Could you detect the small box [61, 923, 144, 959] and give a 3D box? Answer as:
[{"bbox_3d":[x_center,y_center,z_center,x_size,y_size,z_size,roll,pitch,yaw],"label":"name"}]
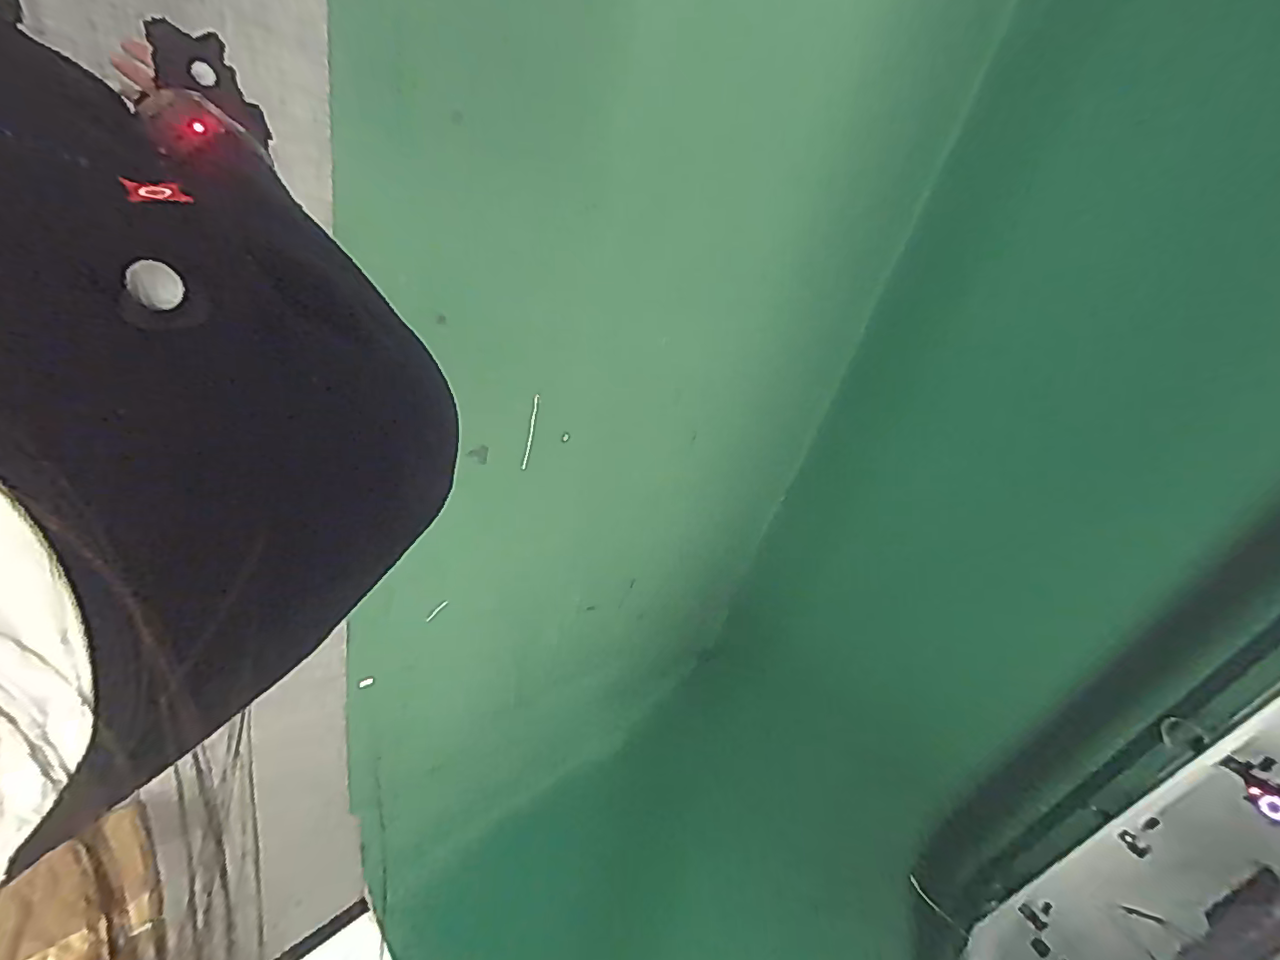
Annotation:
[{"bbox_3d":[-1.475,1.377,1.467,0.179,0.176,0.168,-17,128,-41],"label":"small box"}]
